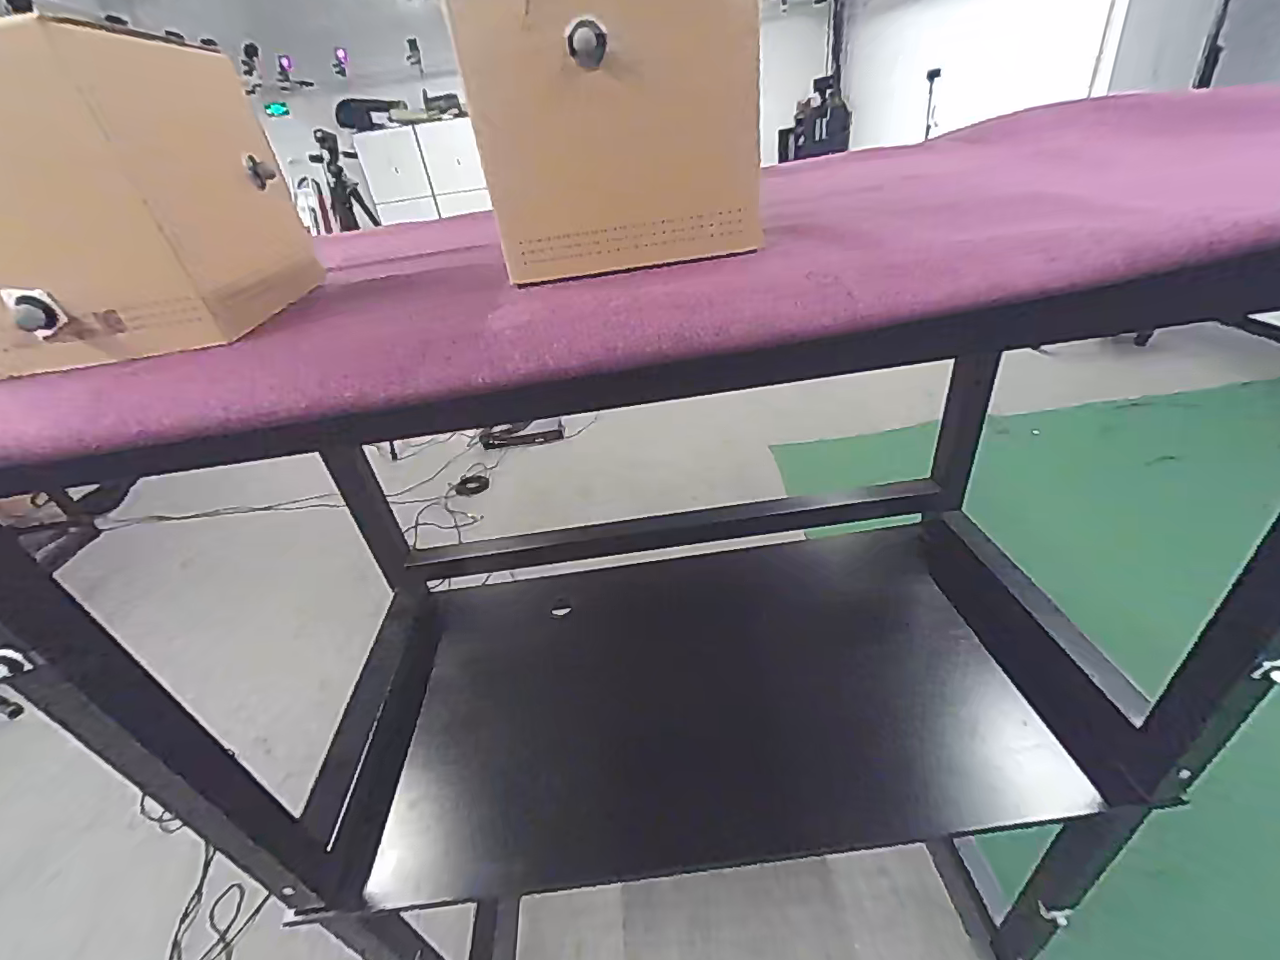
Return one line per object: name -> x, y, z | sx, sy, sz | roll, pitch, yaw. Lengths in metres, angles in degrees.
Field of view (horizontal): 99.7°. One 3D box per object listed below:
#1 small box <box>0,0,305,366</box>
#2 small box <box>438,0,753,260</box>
small box -> -0.365, -0.192, 0.363 | 0.168, 0.176, 0.179 | -11, 35, -1
small box -> -0.022, -0.265, 0.386 | 0.179, 0.176, 0.168 | -8, 33, 1
